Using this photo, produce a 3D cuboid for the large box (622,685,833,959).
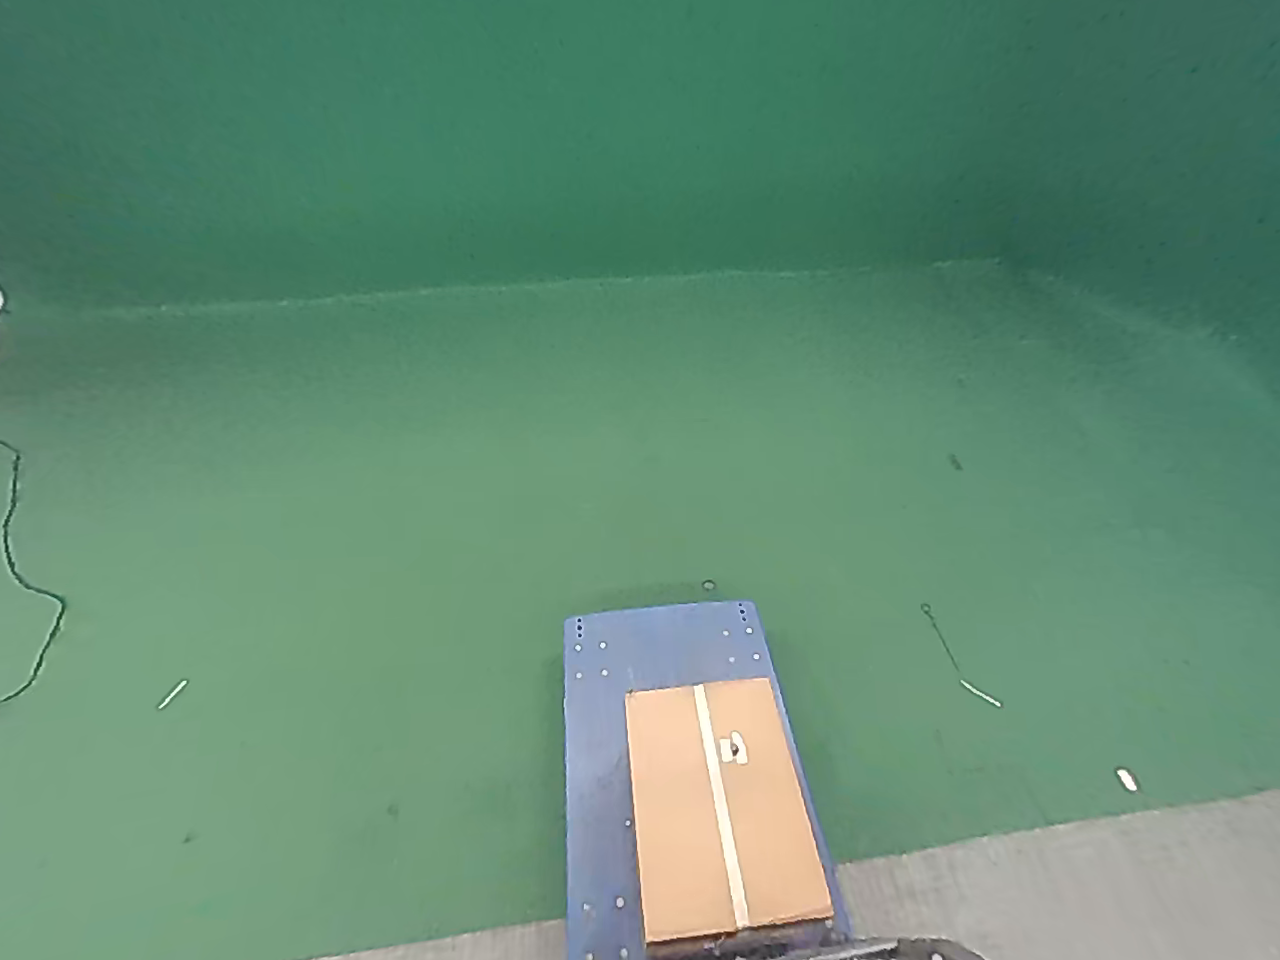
[{"bbox_3d":[0.142,0.696,1.106,0.320,0.320,0.408,-4,44,-5],"label":"large box"}]
